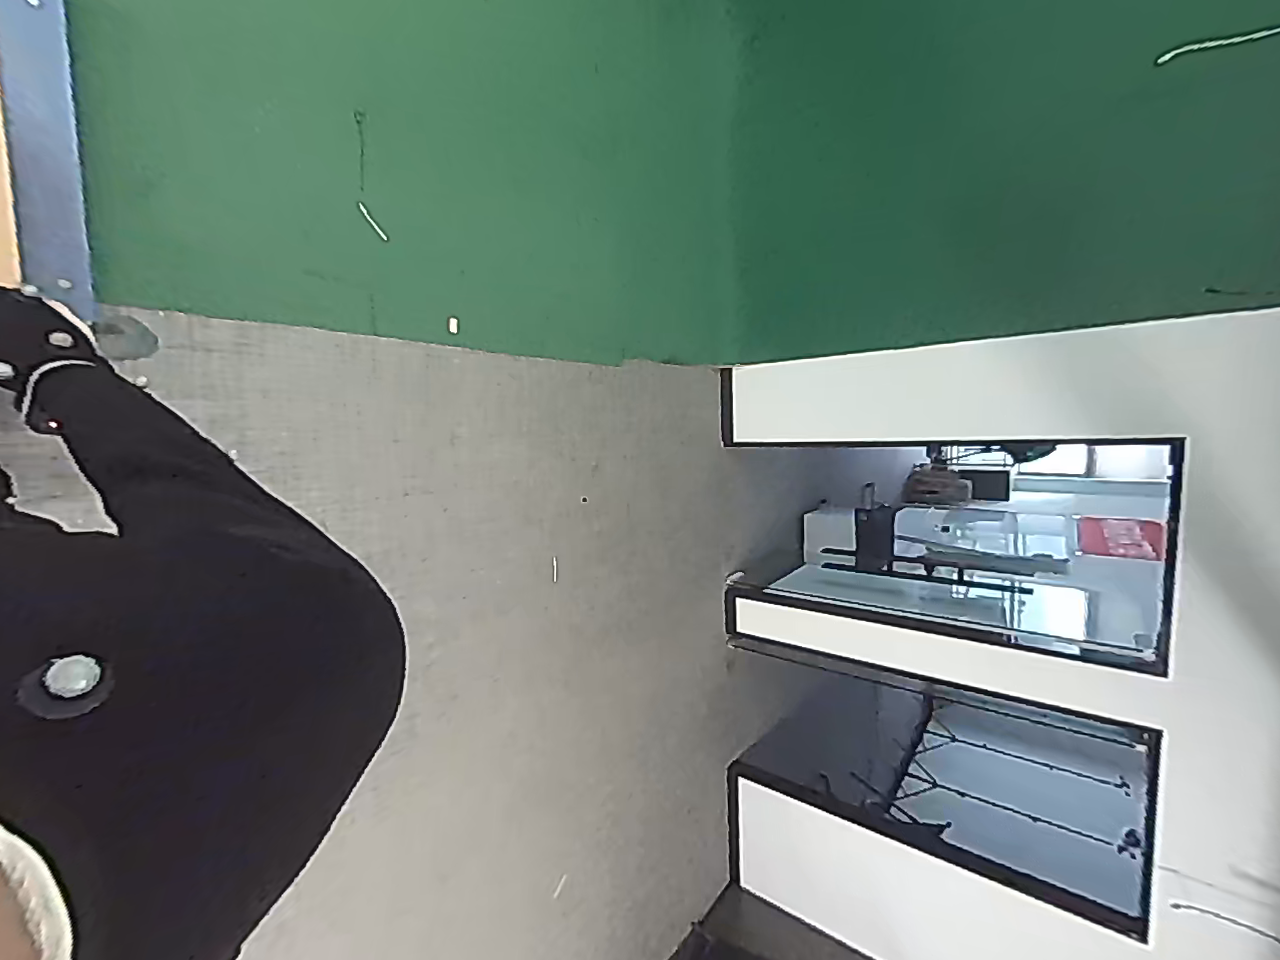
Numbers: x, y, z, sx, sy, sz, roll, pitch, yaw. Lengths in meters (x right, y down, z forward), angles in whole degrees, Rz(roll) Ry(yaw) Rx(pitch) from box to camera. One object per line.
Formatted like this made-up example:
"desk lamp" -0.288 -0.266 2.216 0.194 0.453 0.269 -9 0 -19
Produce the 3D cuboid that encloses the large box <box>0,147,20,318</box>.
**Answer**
"large box" -1.117 -0.463 0.737 0.320 0.320 0.408 -9 98 -52
